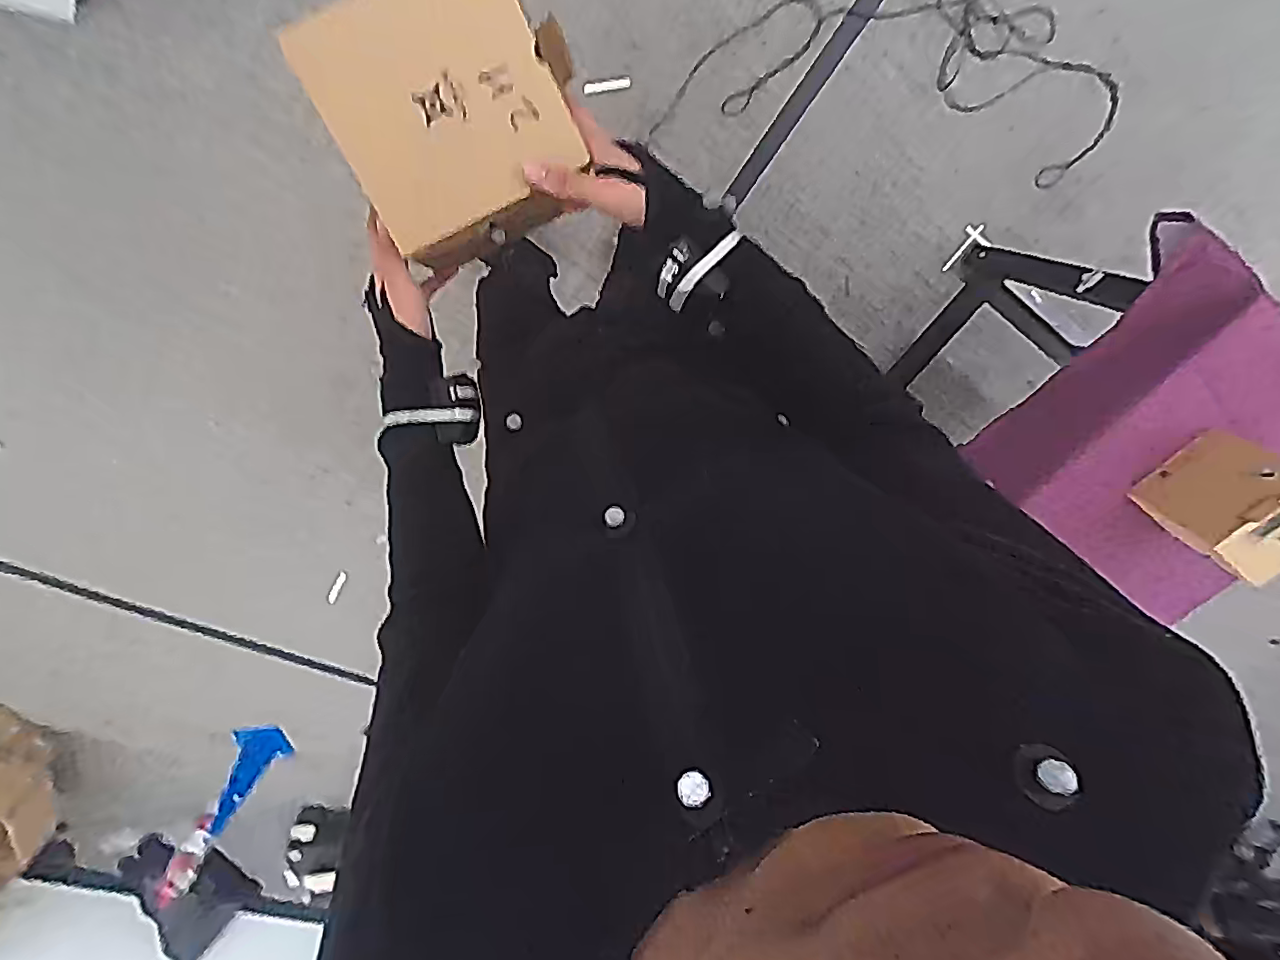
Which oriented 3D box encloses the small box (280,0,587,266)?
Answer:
[{"bbox_3d":[-0.163,-0.312,0.490,0.179,0.176,0.168,-28,109,-1],"label":"small box"}]
